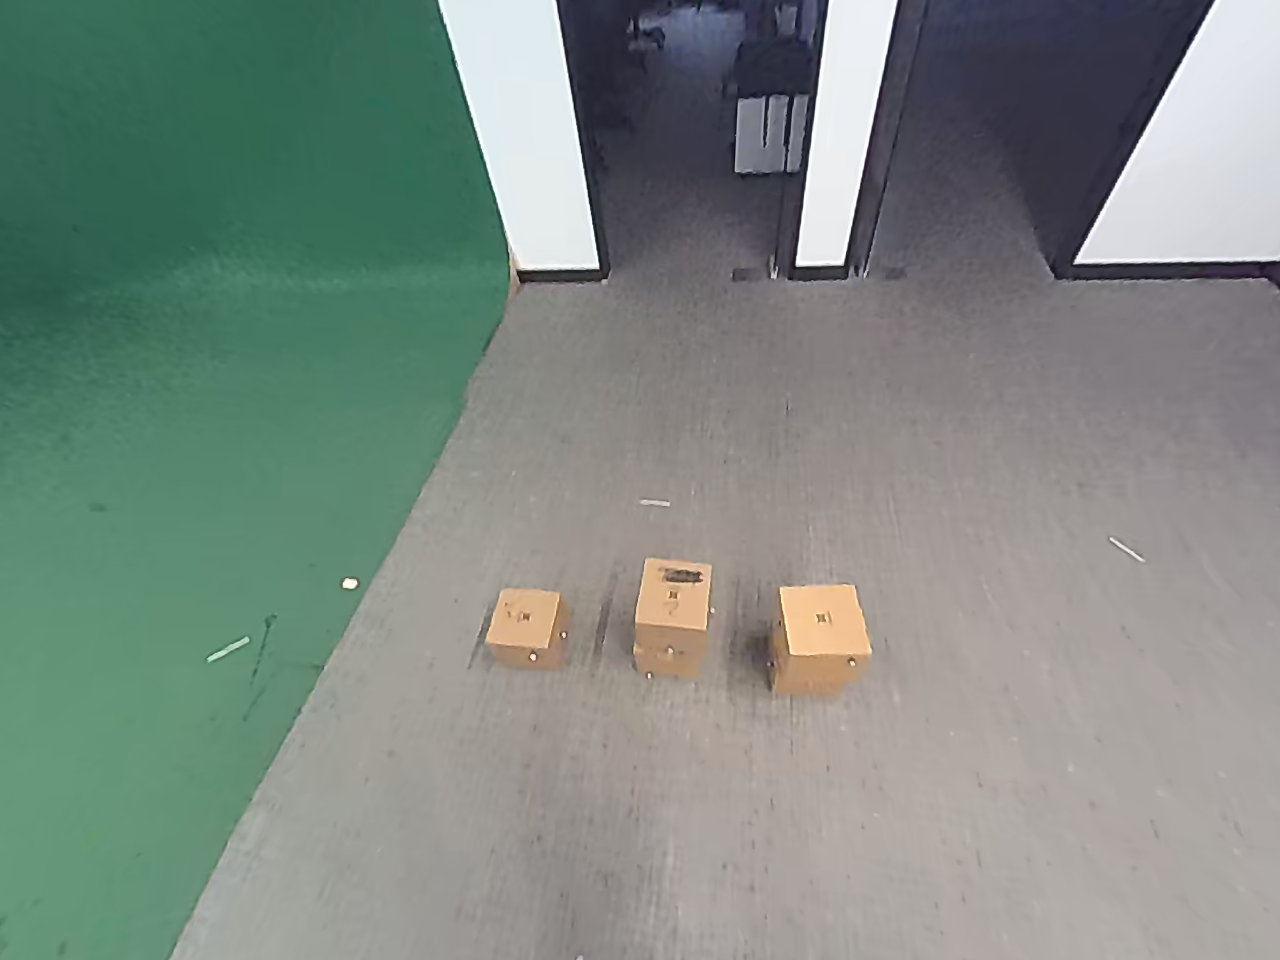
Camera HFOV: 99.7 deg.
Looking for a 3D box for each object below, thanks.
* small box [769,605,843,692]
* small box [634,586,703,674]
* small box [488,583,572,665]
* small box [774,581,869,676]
[{"bbox_3d":[0.431,0.441,1.406,0.179,0.176,0.168,1,52,8],"label":"small box"},{"bbox_3d":[0.084,0.413,1.475,0.168,0.176,0.179,3,51,10],"label":"small box"},{"bbox_3d":[-0.301,0.410,1.527,0.179,0.176,0.168,2,50,9],"label":"small box"},{"bbox_3d":[0.415,0.352,1.271,0.179,0.176,0.168,-3,51,5],"label":"small box"}]
